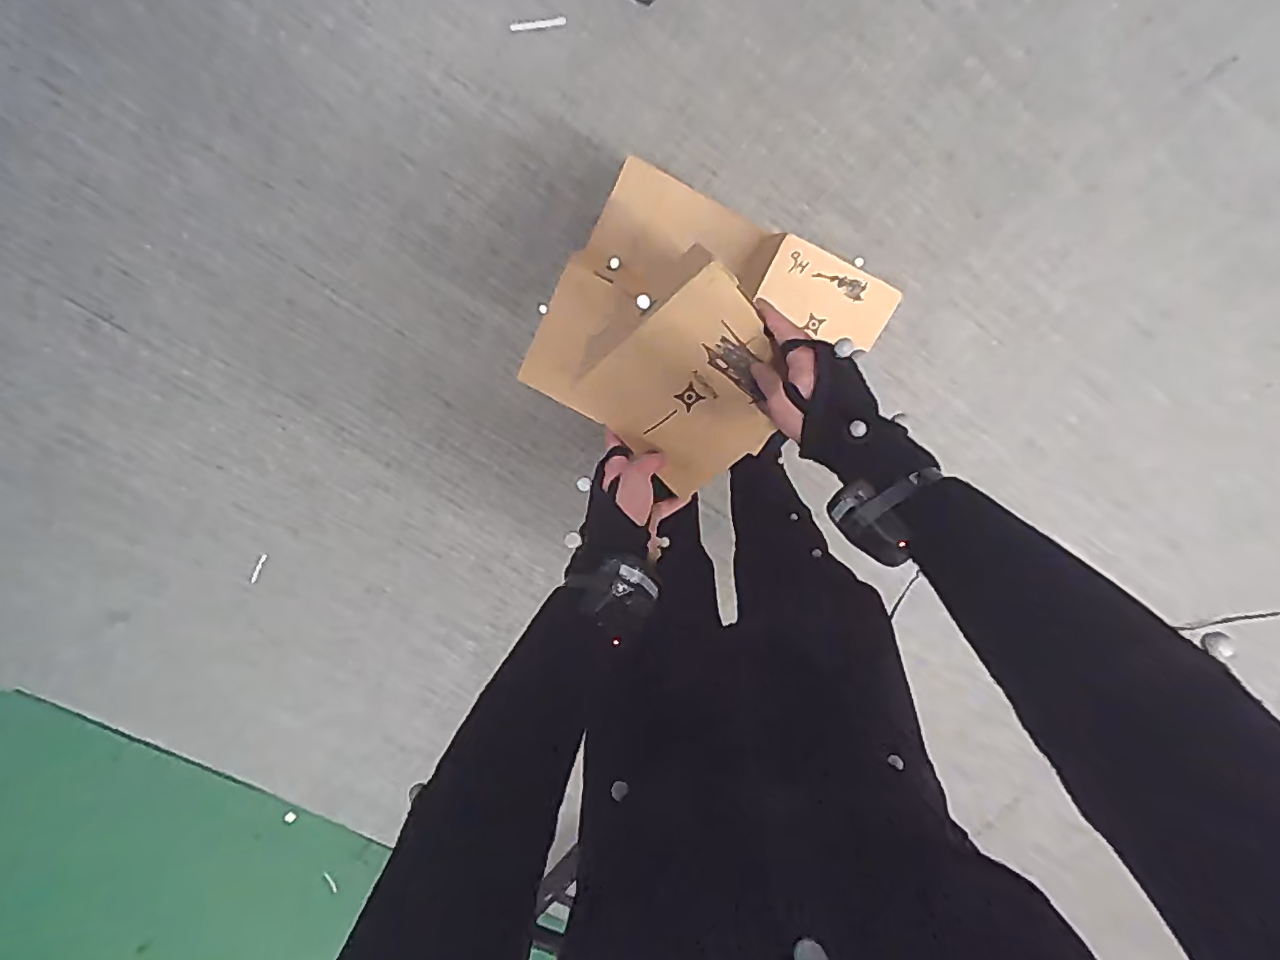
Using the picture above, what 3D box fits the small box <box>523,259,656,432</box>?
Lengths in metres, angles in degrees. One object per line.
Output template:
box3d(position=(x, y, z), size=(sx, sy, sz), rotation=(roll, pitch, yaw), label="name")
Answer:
box3d(position=(-0.042, -0.196, 0.776), size=(0.168, 0.176, 0.179), rotation=(27, 117, -8), label="small box")

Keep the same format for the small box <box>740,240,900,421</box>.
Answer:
box3d(position=(0.215, -0.212, 0.752), size=(0.168, 0.176, 0.179), rotation=(24, 113, -7), label="small box")

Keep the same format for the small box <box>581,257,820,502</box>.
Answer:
box3d(position=(0.058, -0.117, 0.587), size=(0.179, 0.176, 0.168), rotation=(-38, 111, 19), label="small box")
